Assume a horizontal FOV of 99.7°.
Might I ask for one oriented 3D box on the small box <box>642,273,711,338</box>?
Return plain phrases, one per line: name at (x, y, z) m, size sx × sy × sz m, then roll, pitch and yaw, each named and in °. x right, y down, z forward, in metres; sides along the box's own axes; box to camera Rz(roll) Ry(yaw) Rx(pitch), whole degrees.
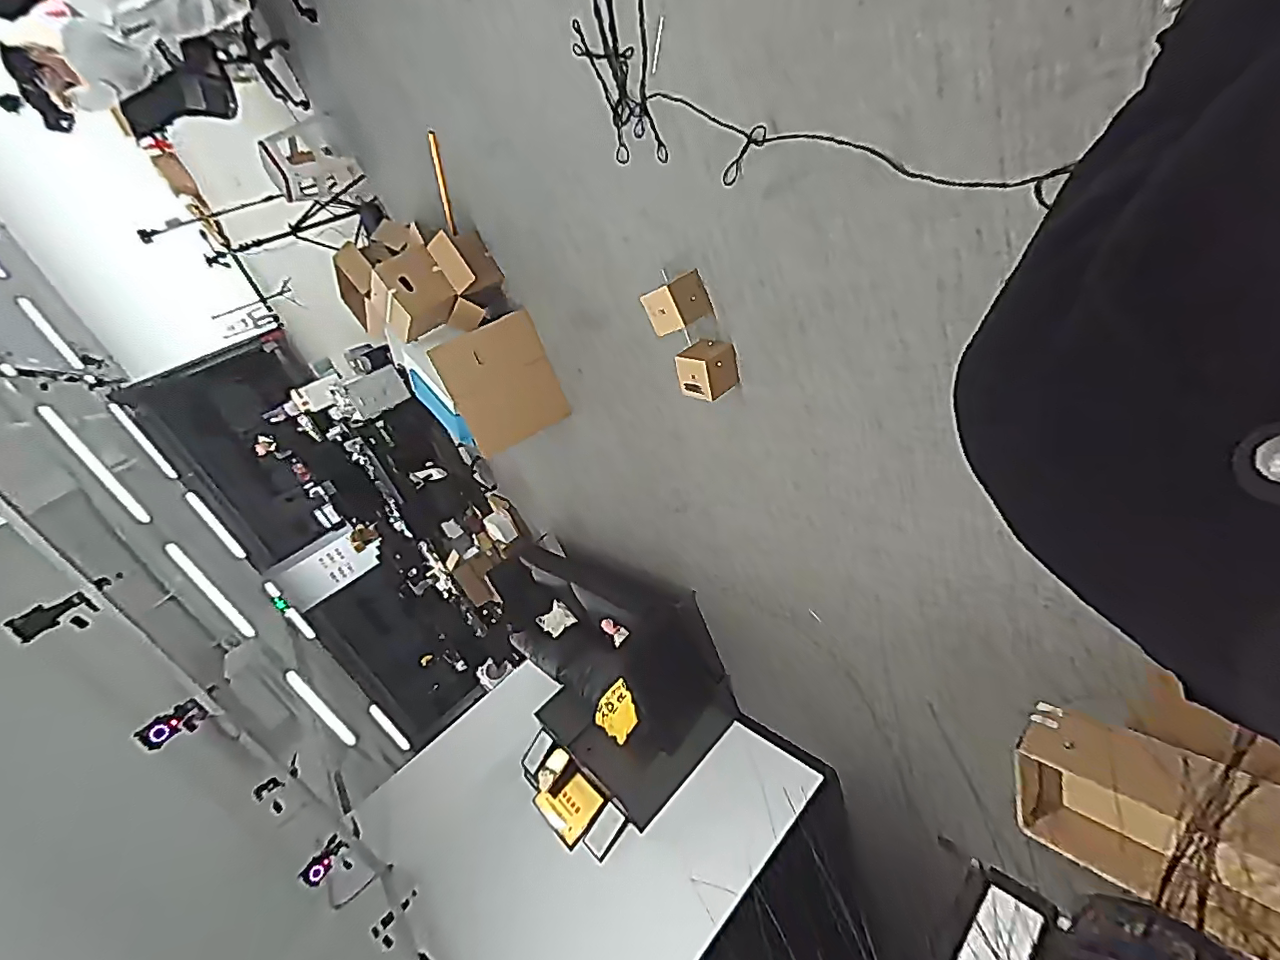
small box at (0.148, -0.669, 2.069) m, size 0.179 × 0.176 × 0.168 m, roll 3°, pitch 125°, yaw 56°
